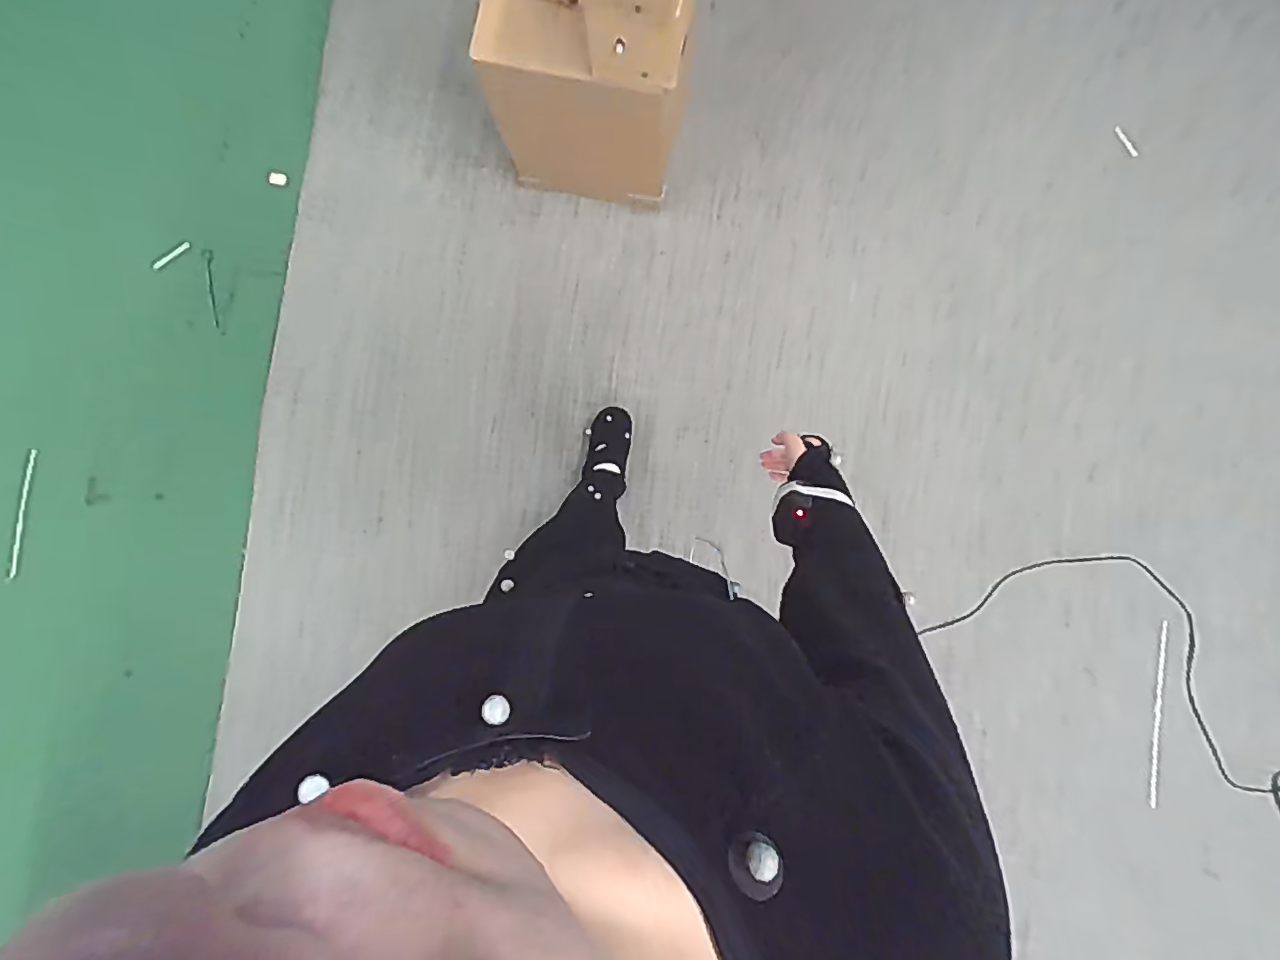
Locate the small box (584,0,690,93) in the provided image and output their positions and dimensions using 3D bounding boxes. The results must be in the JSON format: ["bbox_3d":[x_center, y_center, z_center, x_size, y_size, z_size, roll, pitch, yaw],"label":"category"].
[{"bbox_3d":[0.002,-0.859,0.993,0.168,0.176,0.179,10,87,1],"label":"small box"}]

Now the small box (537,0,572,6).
[{"bbox_3d":[-0.200,-1.045,1.007,0.179,0.176,0.168,18,88,1],"label":"small box"}]
